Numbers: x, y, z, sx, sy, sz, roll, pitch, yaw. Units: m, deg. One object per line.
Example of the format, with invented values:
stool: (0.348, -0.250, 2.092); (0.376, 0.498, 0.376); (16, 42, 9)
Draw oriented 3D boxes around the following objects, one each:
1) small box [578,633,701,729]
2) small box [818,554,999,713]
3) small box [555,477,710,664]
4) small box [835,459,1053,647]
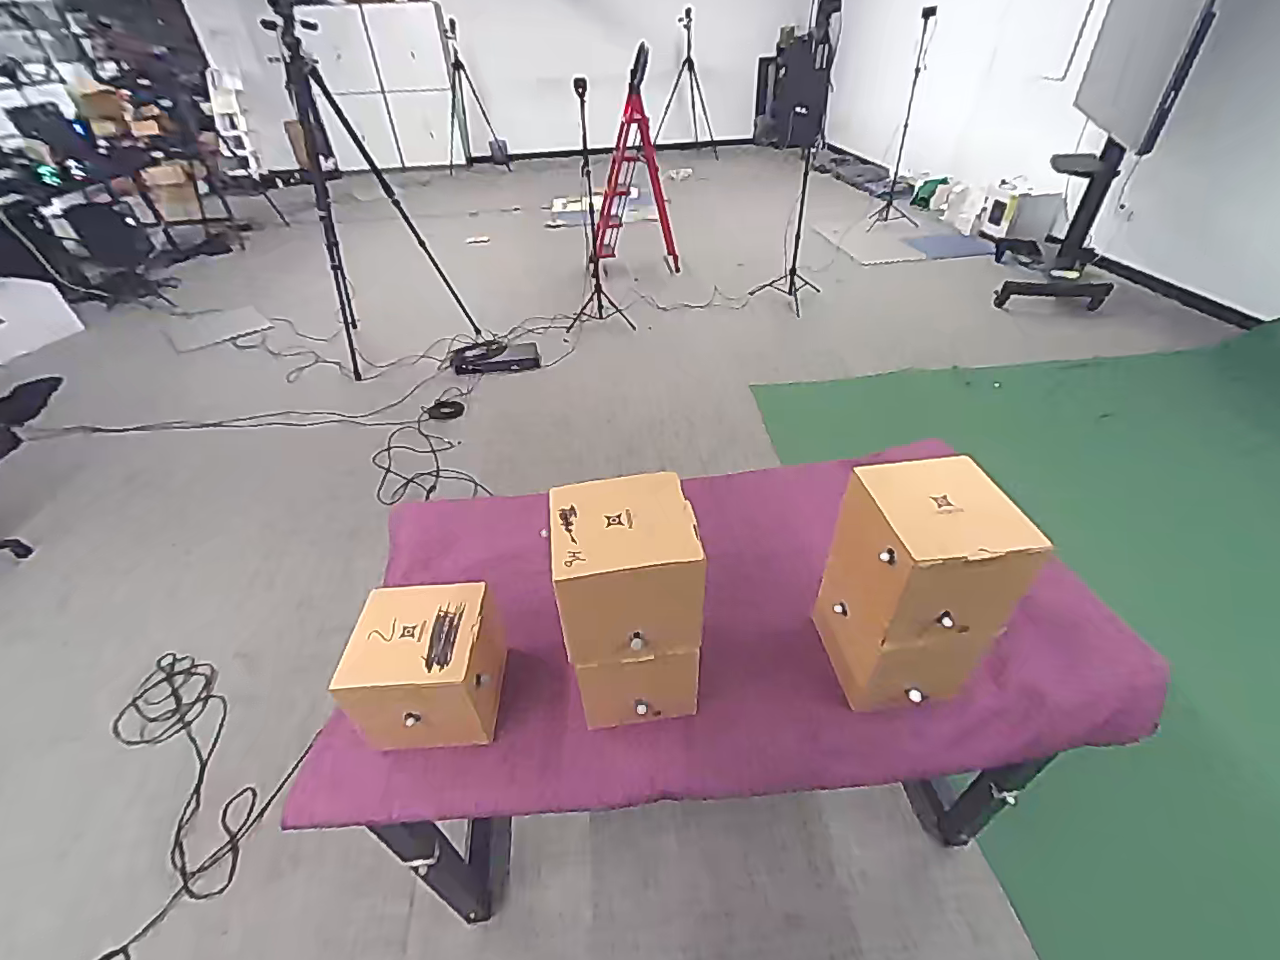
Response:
small box: (-0.009, 0.243, 0.816); (0.168, 0.176, 0.179); (-7, 39, -5)
small box: (0.386, 0.223, 0.820); (0.168, 0.176, 0.179); (-6, 40, -3)
small box: (-0.016, 0.117, 0.711); (0.179, 0.176, 0.168); (-7, 38, -6)
small box: (0.381, 0.095, 0.720); (0.168, 0.176, 0.179); (-6, 40, -4)
